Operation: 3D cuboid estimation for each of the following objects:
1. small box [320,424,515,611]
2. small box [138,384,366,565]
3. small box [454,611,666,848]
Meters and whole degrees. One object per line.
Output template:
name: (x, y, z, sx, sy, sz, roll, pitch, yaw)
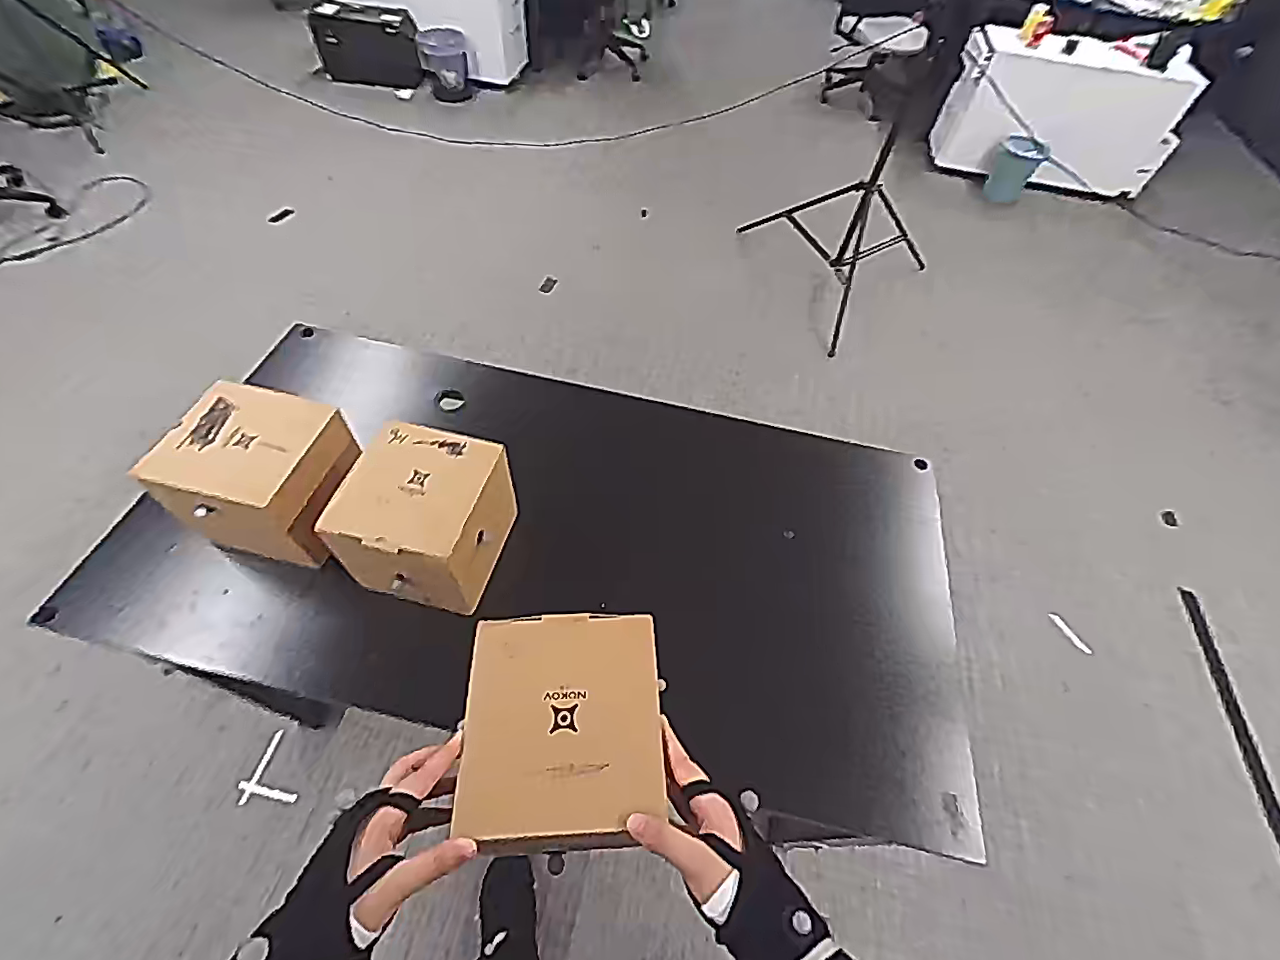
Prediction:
small box: (-0.279, 0.056, 0.730, 0.168, 0.176, 0.179, 14, 56, 3)
small box: (-0.504, -0.002, 0.746, 0.179, 0.176, 0.168, 13, 56, 3)
small box: (-0.069, 0.244, 0.527, 0.168, 0.176, 0.179, 0, 53, -4)
